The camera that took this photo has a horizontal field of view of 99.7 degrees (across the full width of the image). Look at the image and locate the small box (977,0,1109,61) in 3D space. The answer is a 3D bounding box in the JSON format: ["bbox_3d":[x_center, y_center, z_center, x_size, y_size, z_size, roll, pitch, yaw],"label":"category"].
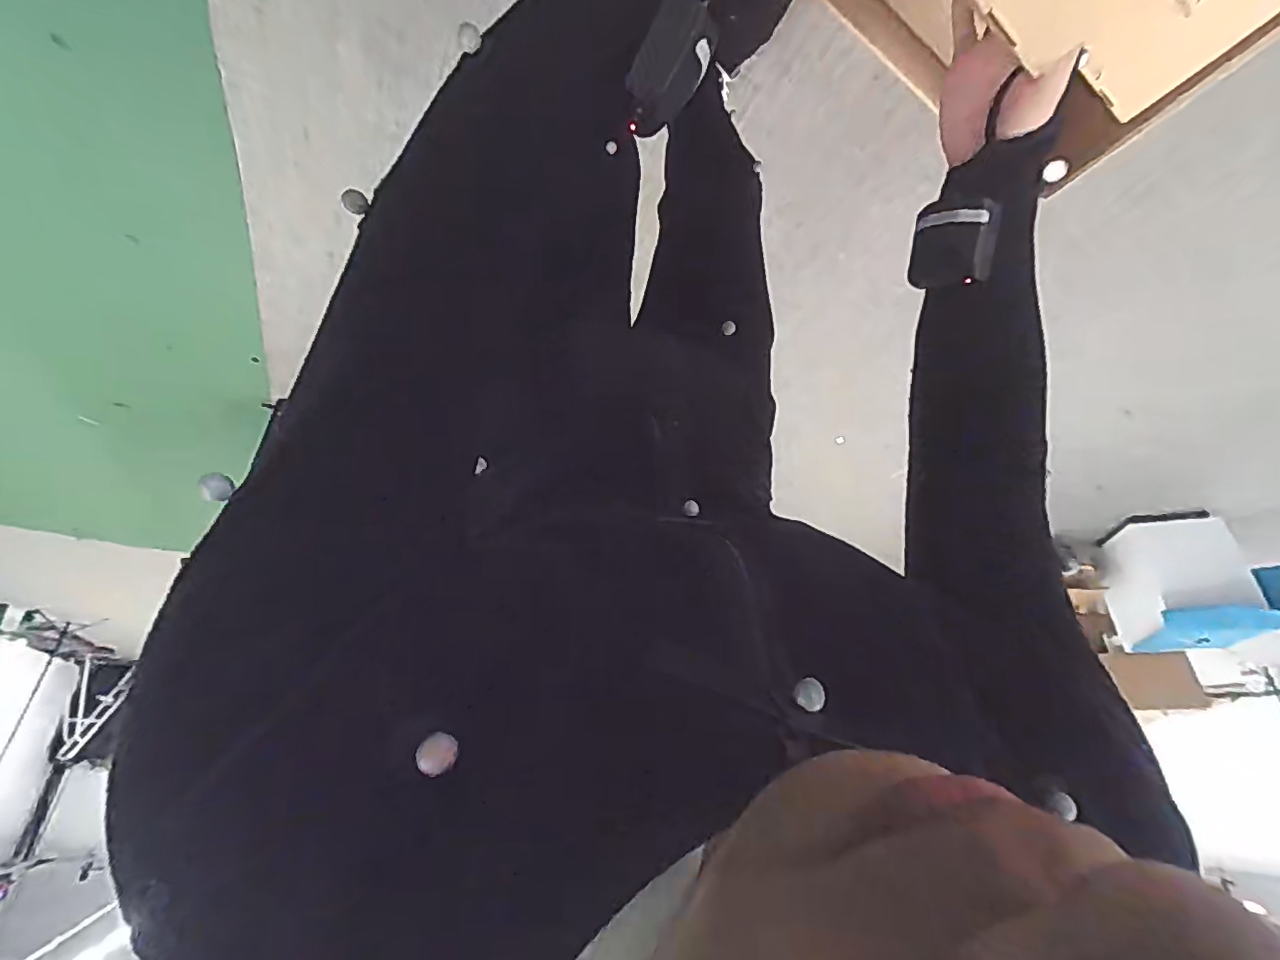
[{"bbox_3d":[0.225,-0.386,0.275,0.168,0.176,0.179,19,145,-29],"label":"small box"}]
